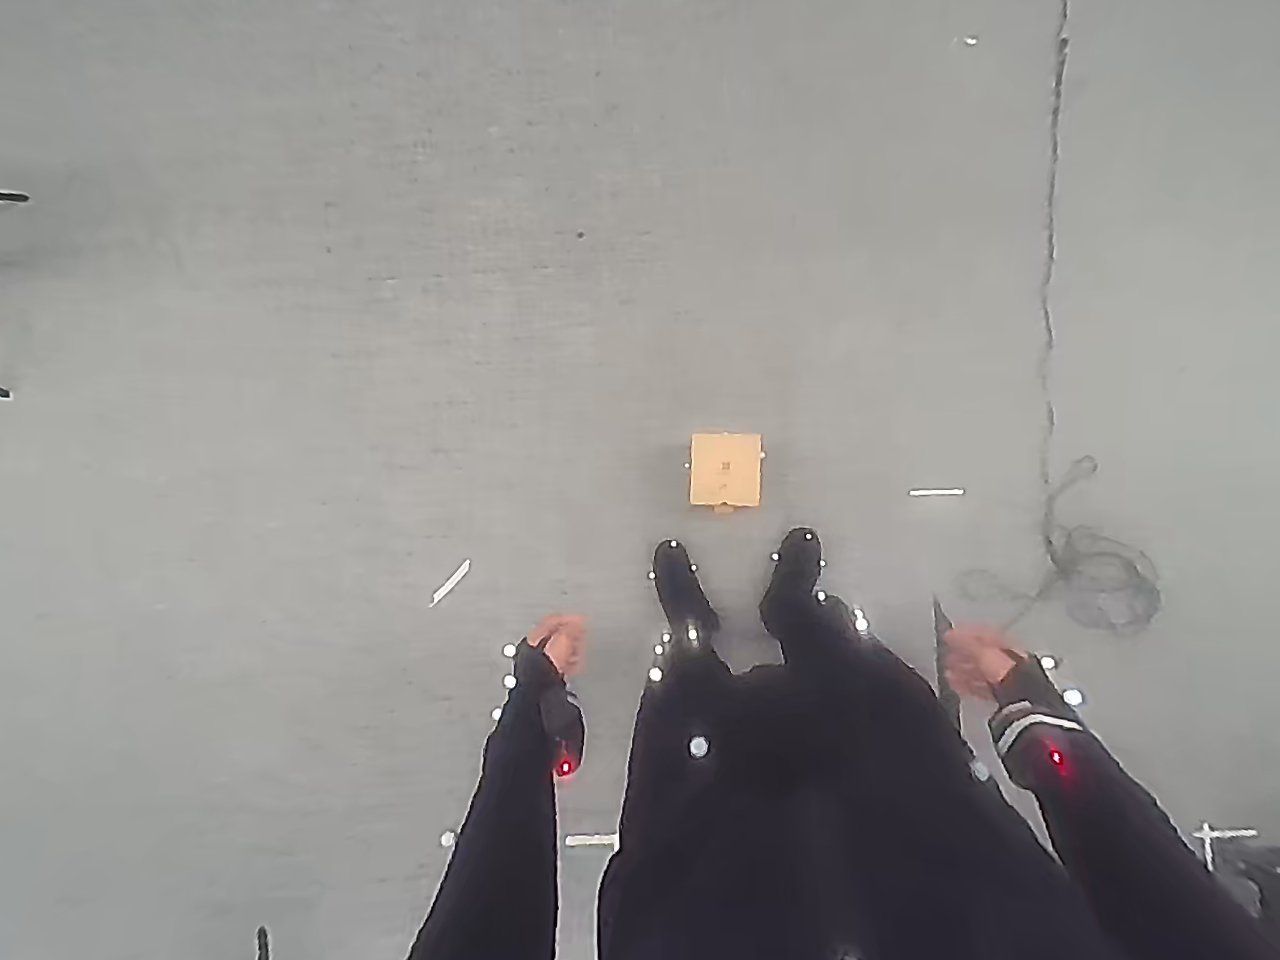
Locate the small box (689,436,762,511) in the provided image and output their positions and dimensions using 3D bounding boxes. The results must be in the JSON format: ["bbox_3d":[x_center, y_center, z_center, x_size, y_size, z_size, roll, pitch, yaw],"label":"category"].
[{"bbox_3d":[0.212,-0.012,1.373,0.168,0.176,0.179,2,87,5],"label":"small box"}]
